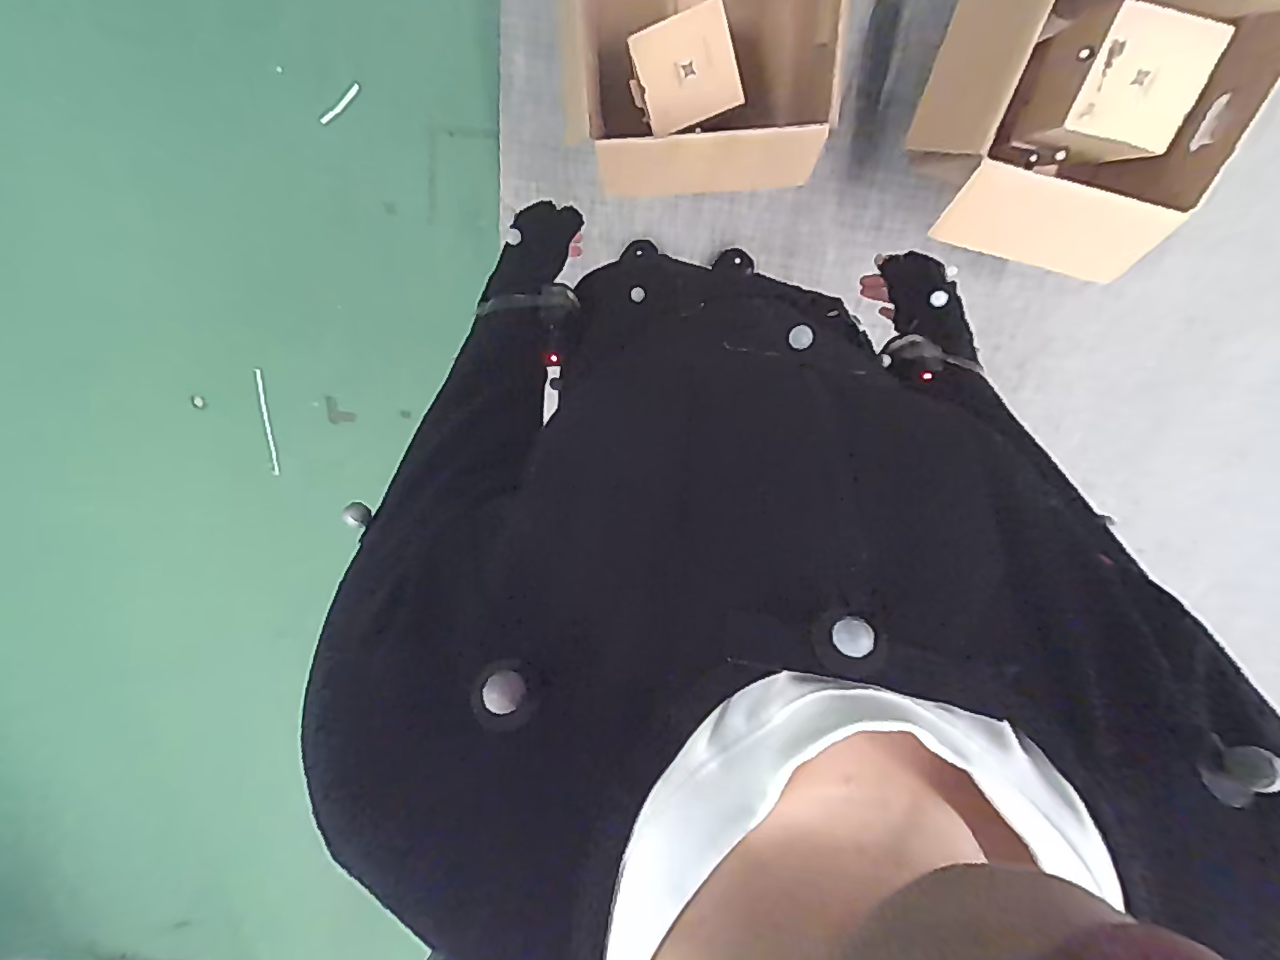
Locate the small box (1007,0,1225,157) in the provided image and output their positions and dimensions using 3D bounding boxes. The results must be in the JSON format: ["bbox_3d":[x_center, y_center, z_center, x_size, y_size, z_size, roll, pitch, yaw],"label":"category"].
[{"bbox_3d":[0.776,-0.656,0.907,0.179,0.176,0.168,12,116,-3],"label":"small box"}]
